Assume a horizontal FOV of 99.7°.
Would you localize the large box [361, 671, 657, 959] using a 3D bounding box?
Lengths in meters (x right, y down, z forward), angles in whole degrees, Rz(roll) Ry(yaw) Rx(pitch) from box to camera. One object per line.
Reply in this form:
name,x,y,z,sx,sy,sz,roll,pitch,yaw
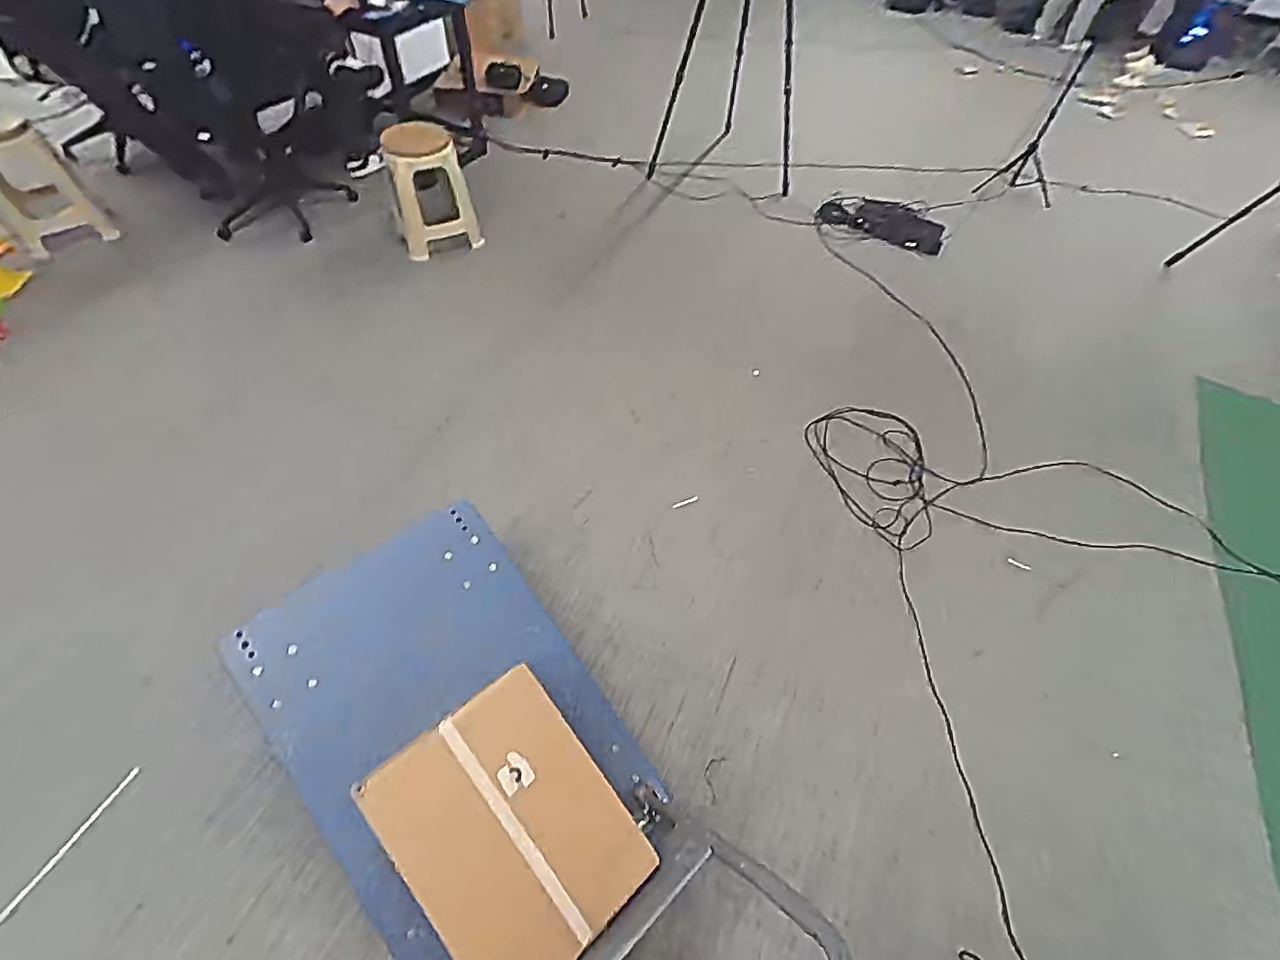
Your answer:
large box,-0.238,0.622,1.013,0.320,0.320,0.408,-34,81,-25
